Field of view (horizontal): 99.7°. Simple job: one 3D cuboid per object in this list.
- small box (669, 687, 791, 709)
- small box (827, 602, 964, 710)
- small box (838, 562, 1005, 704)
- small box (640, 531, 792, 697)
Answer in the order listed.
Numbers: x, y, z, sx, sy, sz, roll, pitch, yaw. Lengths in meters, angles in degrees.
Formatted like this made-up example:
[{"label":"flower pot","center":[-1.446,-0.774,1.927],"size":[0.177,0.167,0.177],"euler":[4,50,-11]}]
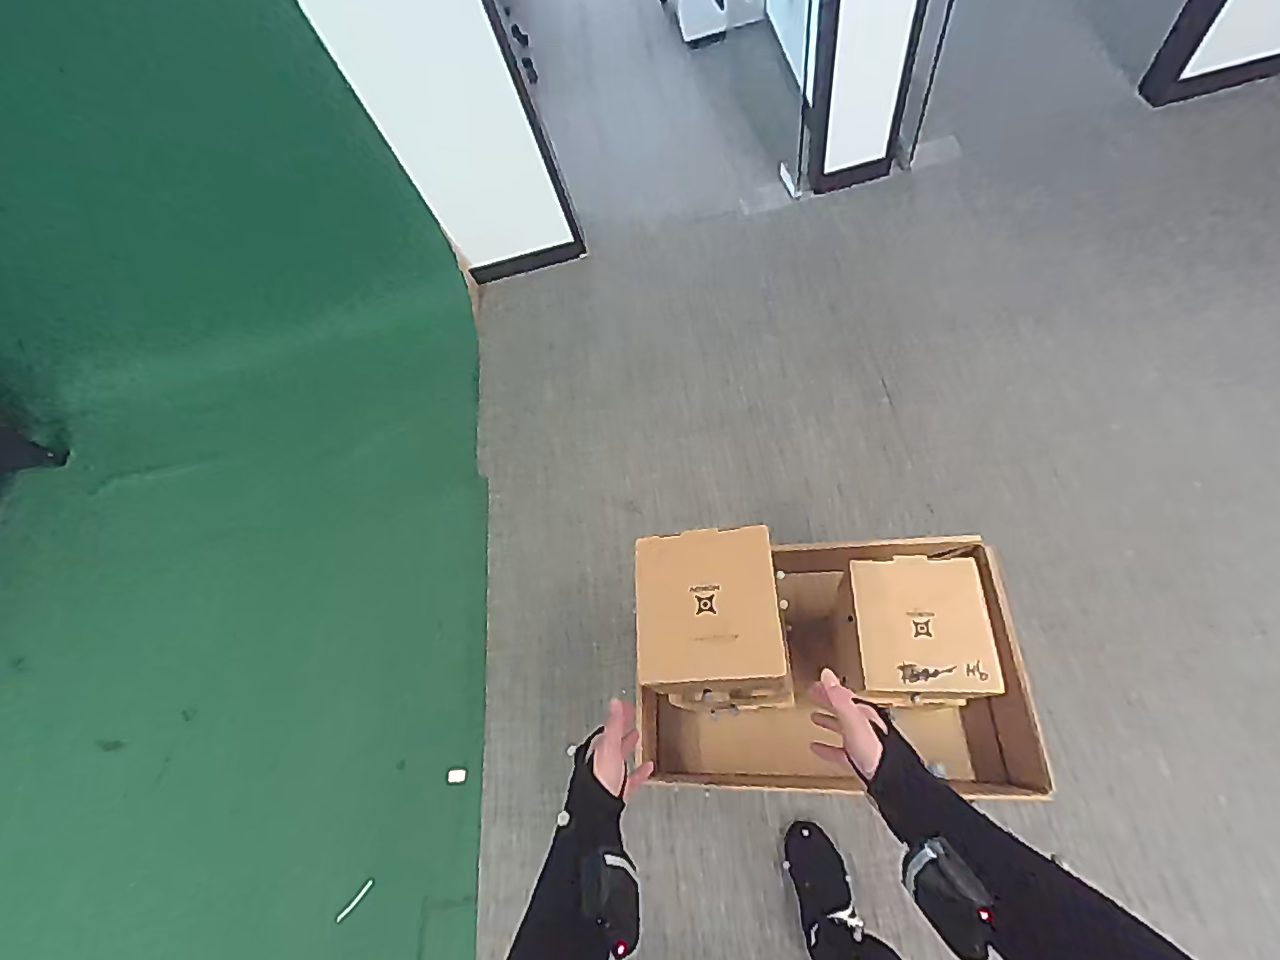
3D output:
[{"label":"small box","center":[0.133,0.251,0.831],"size":[0.168,0.176,0.179],"euler":[-7,65,10]},{"label":"small box","center":[0.424,0.299,0.932],"size":[0.168,0.176,0.179],"euler":[-4,67,10]},{"label":"small box","center":[0.392,0.226,0.788],"size":[0.168,0.176,0.179],"euler":[-2,66,11]},{"label":"small box","center":[0.095,0.178,0.690],"size":[0.168,0.176,0.179],"euler":[-6,65,10]}]
